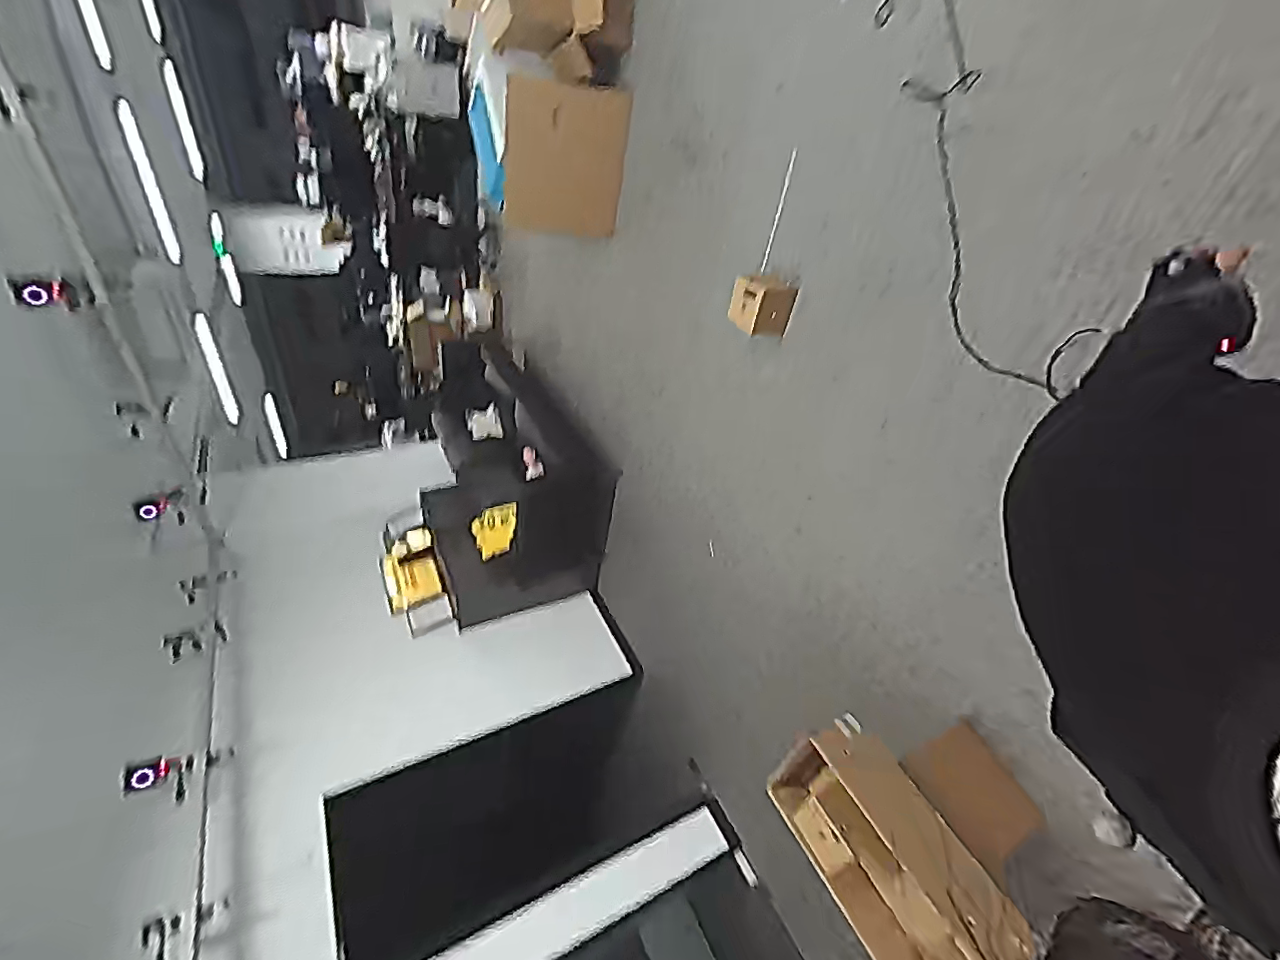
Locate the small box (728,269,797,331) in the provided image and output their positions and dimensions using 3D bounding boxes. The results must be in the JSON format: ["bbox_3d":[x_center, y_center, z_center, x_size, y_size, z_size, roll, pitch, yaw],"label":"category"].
[{"bbox_3d":[0.462,-0.683,2.035,0.168,0.176,0.179,53,145,41],"label":"small box"}]

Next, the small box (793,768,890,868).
[{"bbox_3d":[0.580,0.972,1.559,0.168,0.176,0.179,53,145,36],"label":"small box"}]
